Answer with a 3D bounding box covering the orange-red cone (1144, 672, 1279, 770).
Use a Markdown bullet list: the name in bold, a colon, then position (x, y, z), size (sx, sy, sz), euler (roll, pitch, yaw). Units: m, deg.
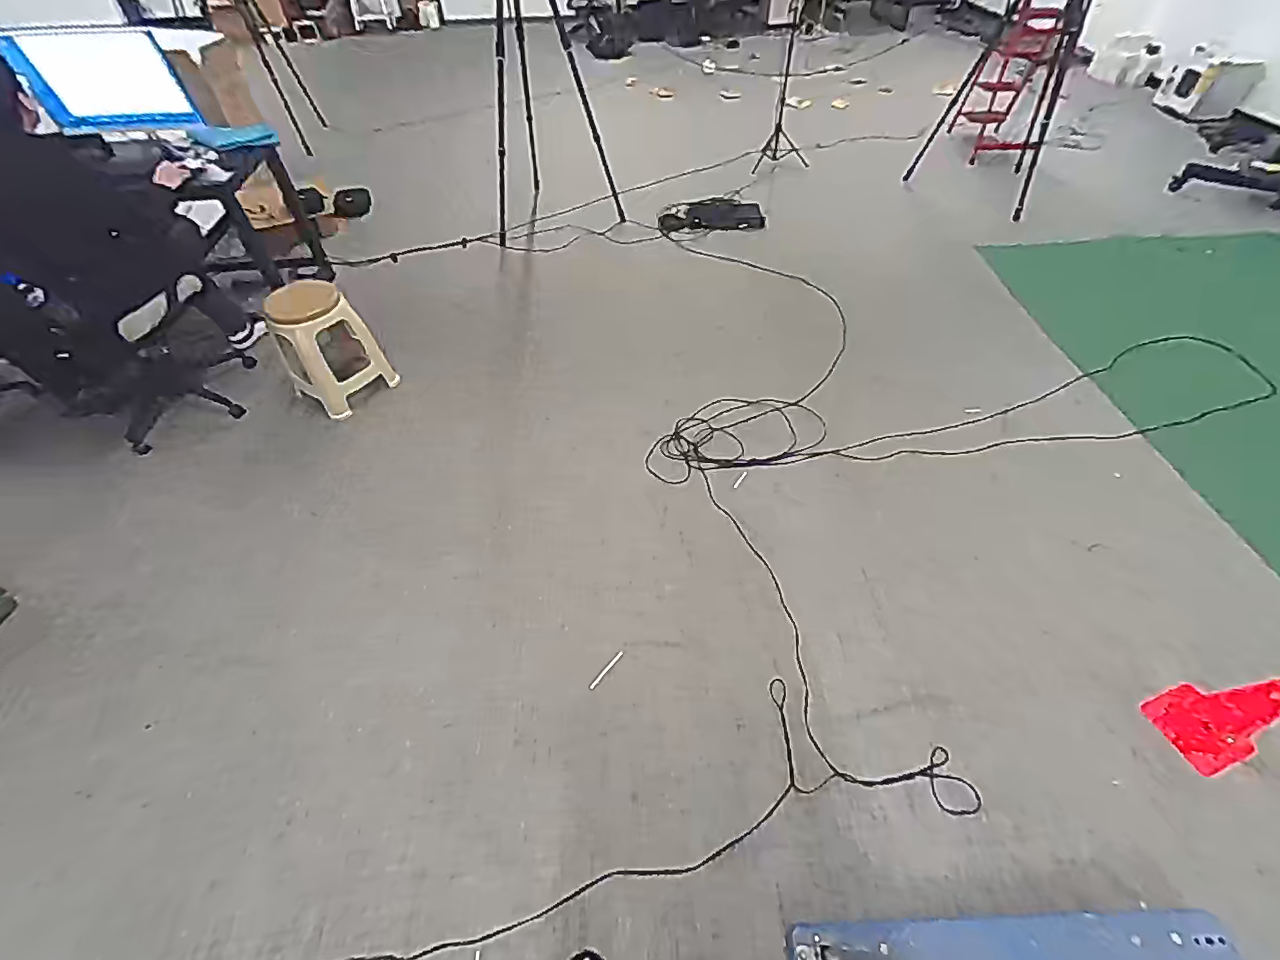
- **orange-red cone**: position (1.516, 0.551, 1.345), size (0.198, 0.360, 0.199), euler (-15, 50, -11)
